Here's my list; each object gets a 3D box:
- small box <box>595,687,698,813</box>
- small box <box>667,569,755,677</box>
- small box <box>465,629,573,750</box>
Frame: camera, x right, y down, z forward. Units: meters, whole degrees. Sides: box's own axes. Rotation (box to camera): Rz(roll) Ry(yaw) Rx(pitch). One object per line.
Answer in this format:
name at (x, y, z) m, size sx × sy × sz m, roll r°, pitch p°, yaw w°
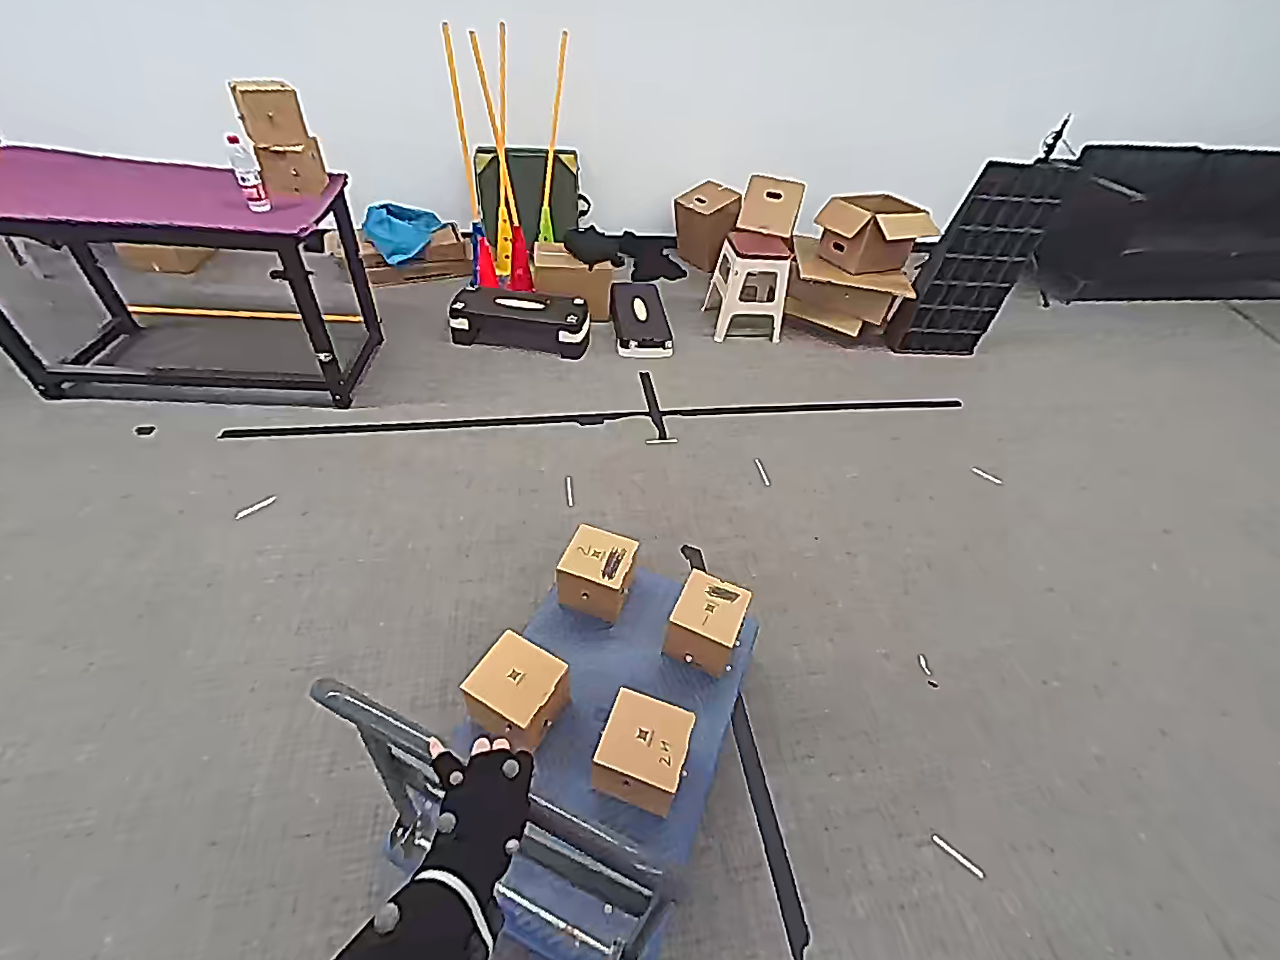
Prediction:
small box at (0.010, 0.585, 1.166) m, size 0.179 × 0.176 × 0.168 m, roll 18°, pitch 45°, yaw 11°
small box at (0.179, 0.372, 1.404) m, size 0.168 × 0.176 × 0.179 m, roll 22°, pitch 47°, yaw 14°
small box at (-0.272, 0.482, 1.236) m, size 0.179 × 0.176 × 0.168 m, roll 25°, pitch 47°, yaw 16°
